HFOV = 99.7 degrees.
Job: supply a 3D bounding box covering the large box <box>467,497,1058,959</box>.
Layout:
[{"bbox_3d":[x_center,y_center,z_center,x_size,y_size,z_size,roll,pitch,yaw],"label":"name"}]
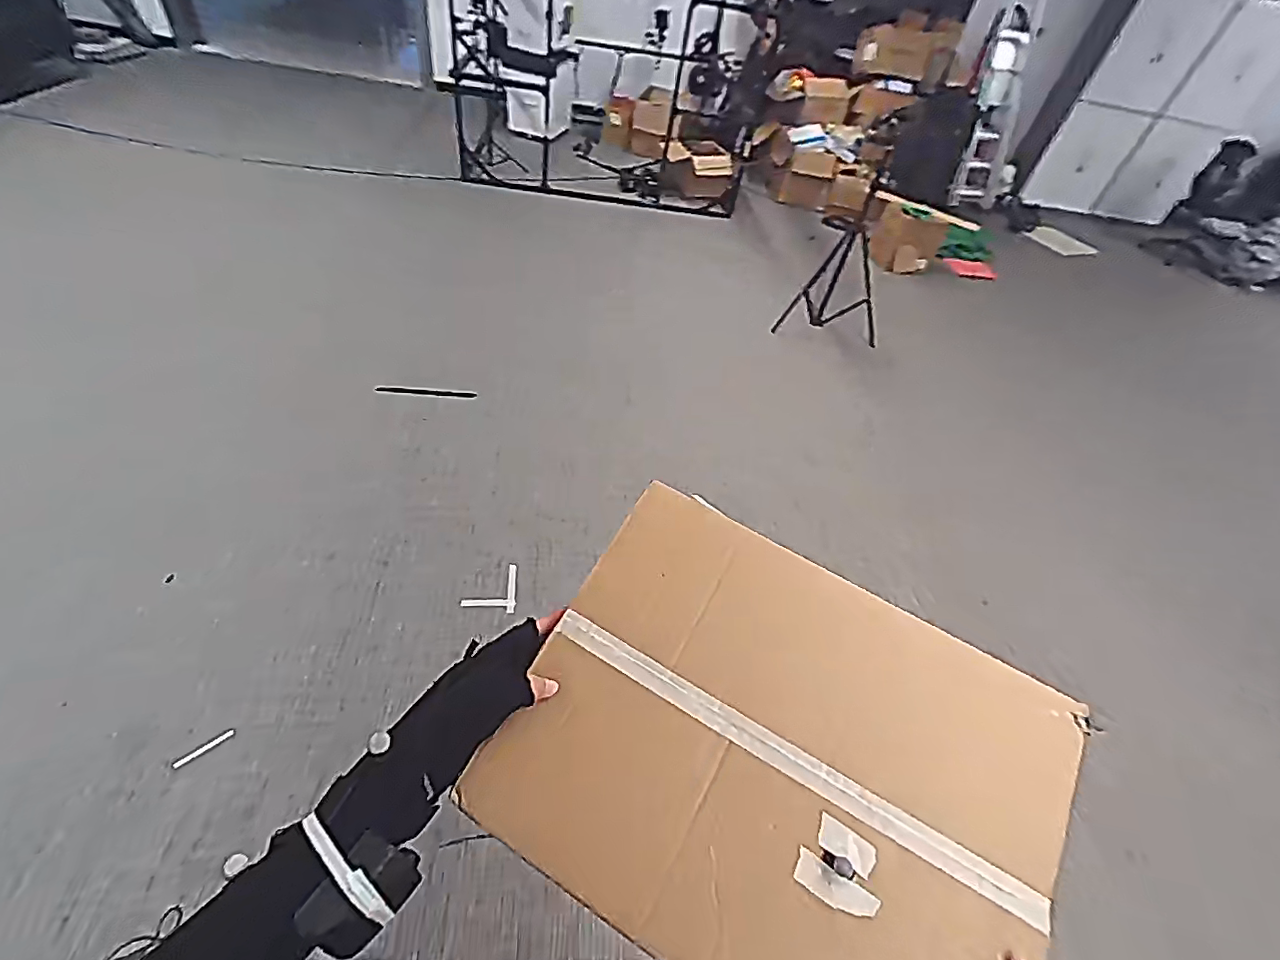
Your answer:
[{"bbox_3d":[0.104,0.285,0.570,0.408,0.320,0.320,28,67,12],"label":"large box"}]
